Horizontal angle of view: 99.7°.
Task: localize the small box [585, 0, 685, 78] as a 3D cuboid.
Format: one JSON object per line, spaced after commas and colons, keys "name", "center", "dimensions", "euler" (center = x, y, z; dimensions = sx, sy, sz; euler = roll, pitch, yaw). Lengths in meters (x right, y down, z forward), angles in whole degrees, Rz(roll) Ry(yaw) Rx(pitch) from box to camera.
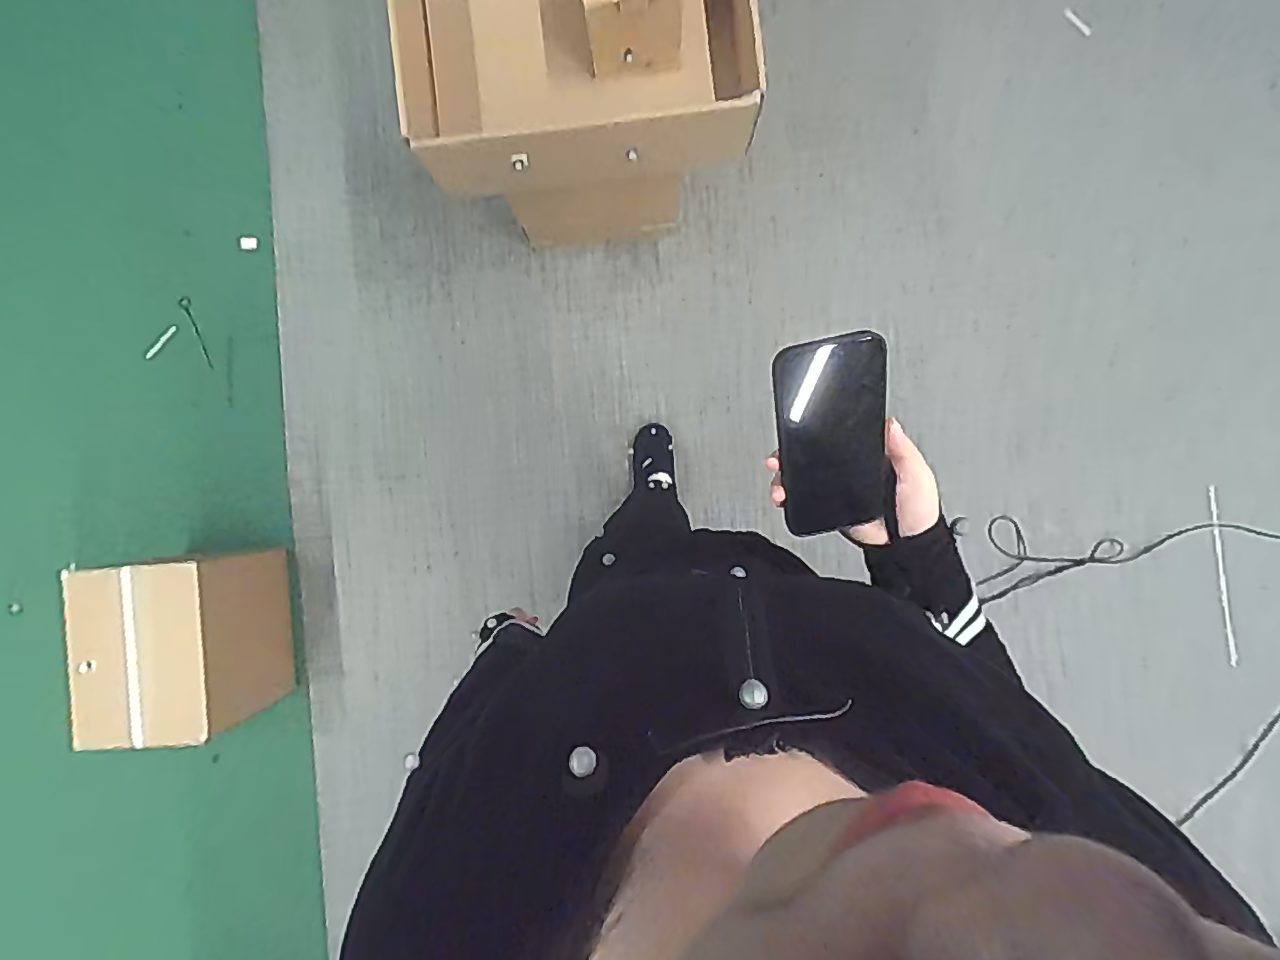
{"name": "small box", "center": [-0.014, -0.861, 0.952], "dimensions": [0.168, 0.176, 0.179], "euler": [-6, 90, 3]}
